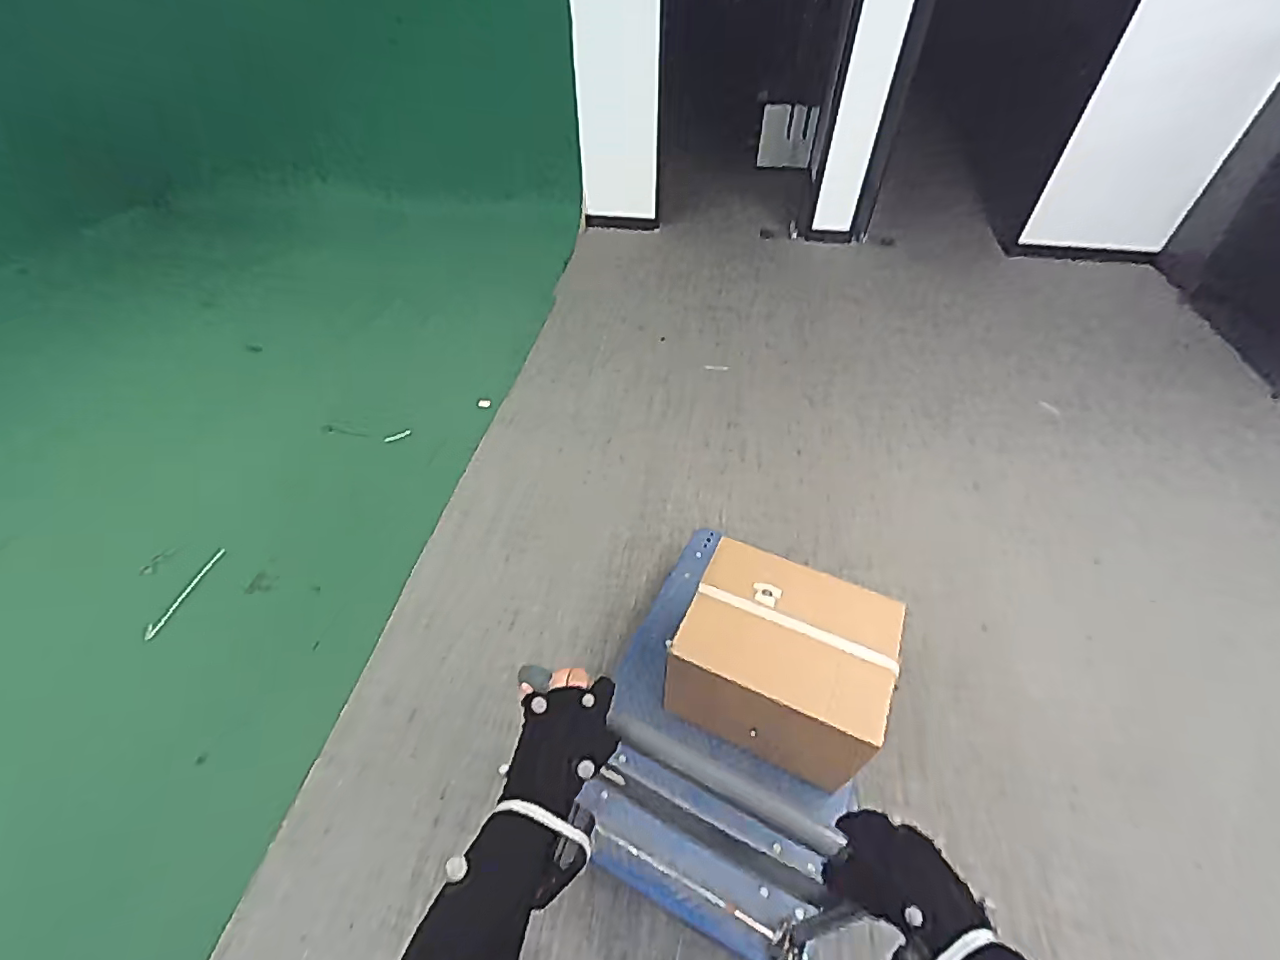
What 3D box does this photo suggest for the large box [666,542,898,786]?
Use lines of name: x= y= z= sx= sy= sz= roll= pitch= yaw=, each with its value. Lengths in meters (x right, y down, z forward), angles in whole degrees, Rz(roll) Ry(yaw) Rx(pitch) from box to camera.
large box: x=0.300 y=0.401 z=1.198 sx=0.408 sy=0.320 sz=0.320 roll=19 pitch=49 yaw=19
